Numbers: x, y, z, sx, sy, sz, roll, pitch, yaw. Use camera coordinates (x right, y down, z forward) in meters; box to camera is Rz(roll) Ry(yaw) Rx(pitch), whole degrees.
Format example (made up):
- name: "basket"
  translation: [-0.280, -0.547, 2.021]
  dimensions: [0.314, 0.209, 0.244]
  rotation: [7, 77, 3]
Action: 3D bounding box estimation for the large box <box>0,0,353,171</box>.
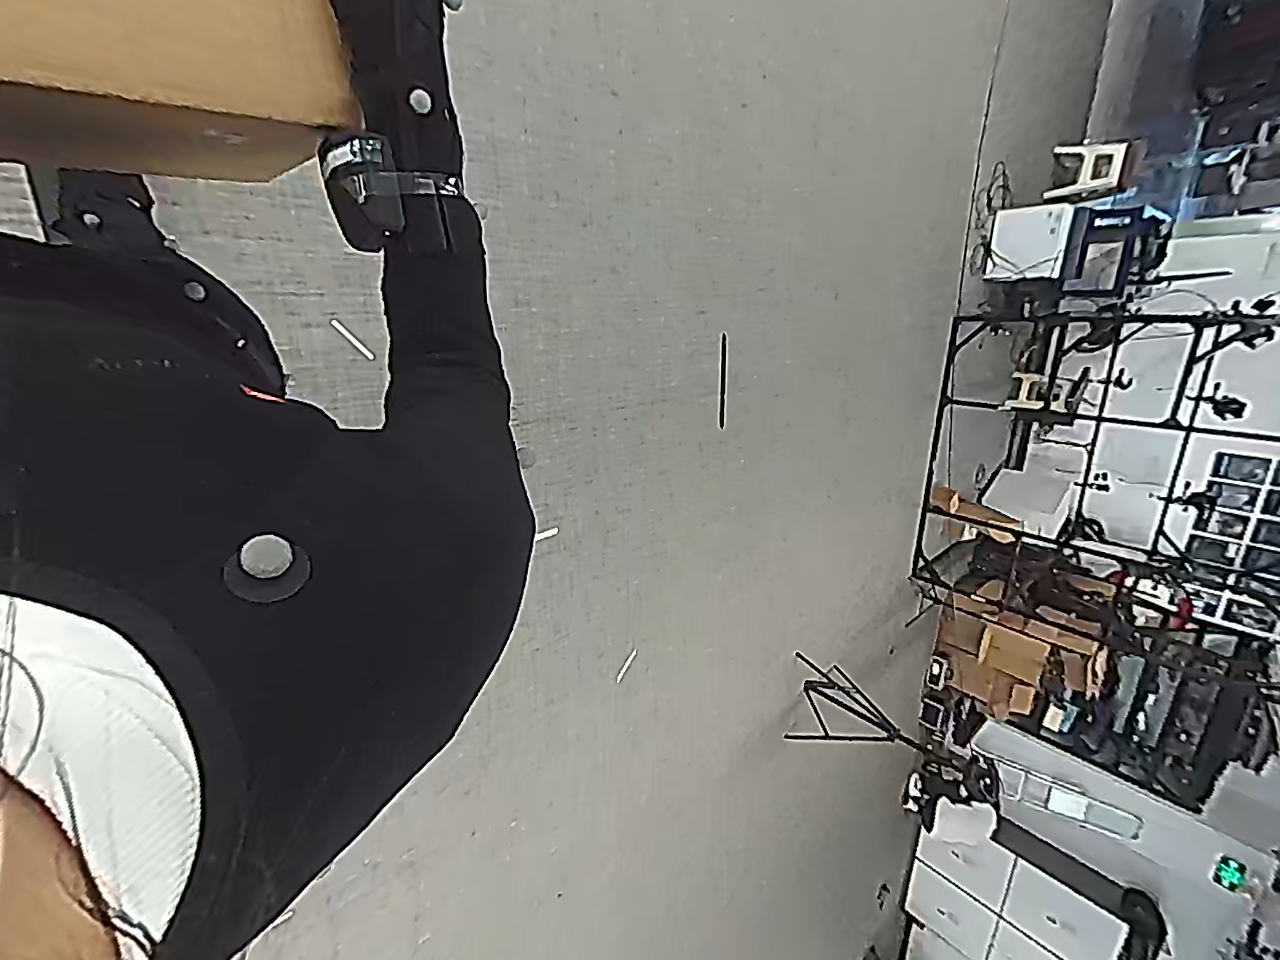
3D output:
- name: "large box"
  translation: [-0.443, -0.368, 0.283]
  dimensions: [0.408, 0.320, 0.320]
  rotation: [-21, 121, -40]
